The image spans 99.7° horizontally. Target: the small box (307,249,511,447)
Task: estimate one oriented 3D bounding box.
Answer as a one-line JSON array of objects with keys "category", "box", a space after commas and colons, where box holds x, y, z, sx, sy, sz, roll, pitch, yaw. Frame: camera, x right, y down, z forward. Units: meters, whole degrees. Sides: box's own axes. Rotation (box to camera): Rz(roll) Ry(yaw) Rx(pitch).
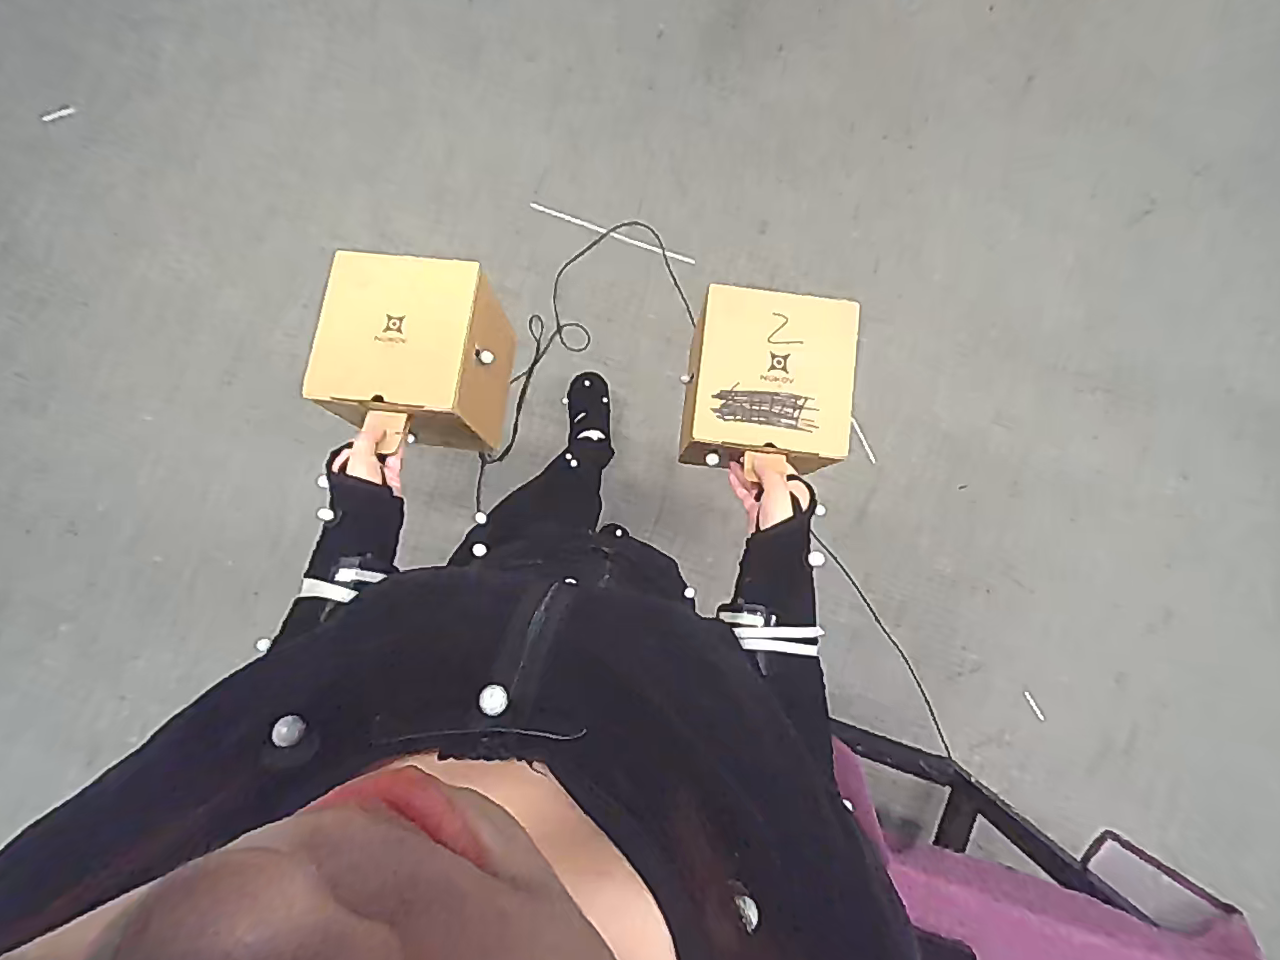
[{"category": "small box", "box": [-0.267, -0.153, 0.671, 0.168, 0.176, 0.179, 6, 79, 2]}]
